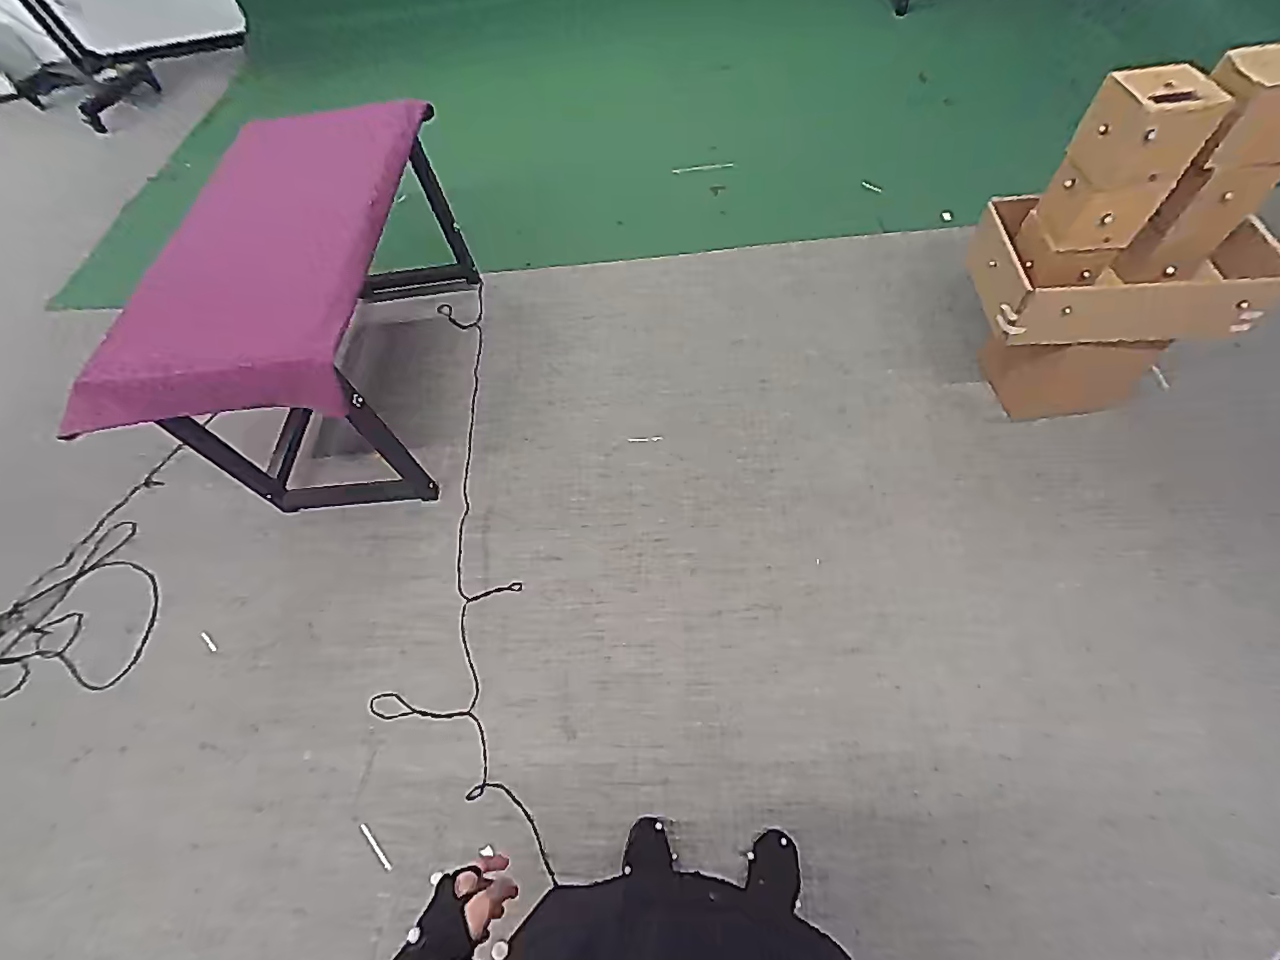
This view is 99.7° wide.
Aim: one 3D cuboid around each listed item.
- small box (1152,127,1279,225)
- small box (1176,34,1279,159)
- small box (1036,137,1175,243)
[{"bbox_3d":[1.386,-0.749,1.313,0.179,0.176,0.168,-8,59,6],"label":"small box"},{"bbox_3d":[1.346,-0.830,1.174,0.179,0.176,0.168,-1,59,9],"label":"small box"},{"bbox_3d":[1.125,-0.701,1.325,0.168,0.176,0.179,-3,59,5],"label":"small box"}]
